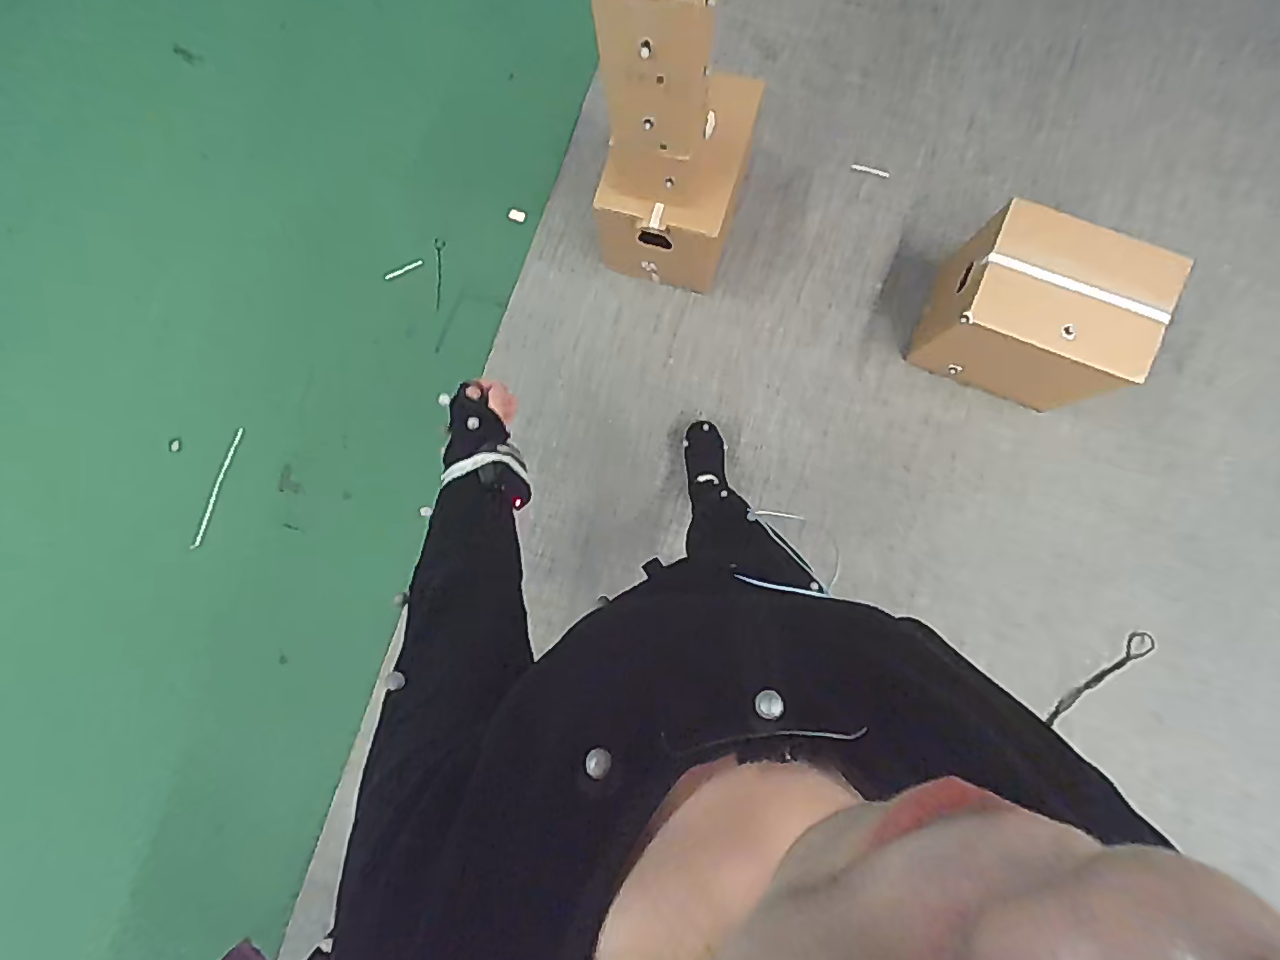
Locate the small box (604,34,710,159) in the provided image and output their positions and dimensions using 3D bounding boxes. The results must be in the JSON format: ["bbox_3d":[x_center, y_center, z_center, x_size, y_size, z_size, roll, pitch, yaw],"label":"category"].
[{"bbox_3d":[0.037,-0.751,1.030,0.168,0.176,0.179,12,84,4],"label":"small box"}]

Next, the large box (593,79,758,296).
[{"bbox_3d":[0.096,-0.768,1.438,0.320,0.320,0.408,17,85,5],"label":"large box"}]

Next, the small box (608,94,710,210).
[{"bbox_3d":[0.044,-0.729,1.192,0.179,0.176,0.168,16,84,6],"label":"small box"}]

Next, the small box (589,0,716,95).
[{"bbox_3d":[0.029,-0.766,0.866,0.168,0.176,0.179,13,86,4],"label":"small box"}]
